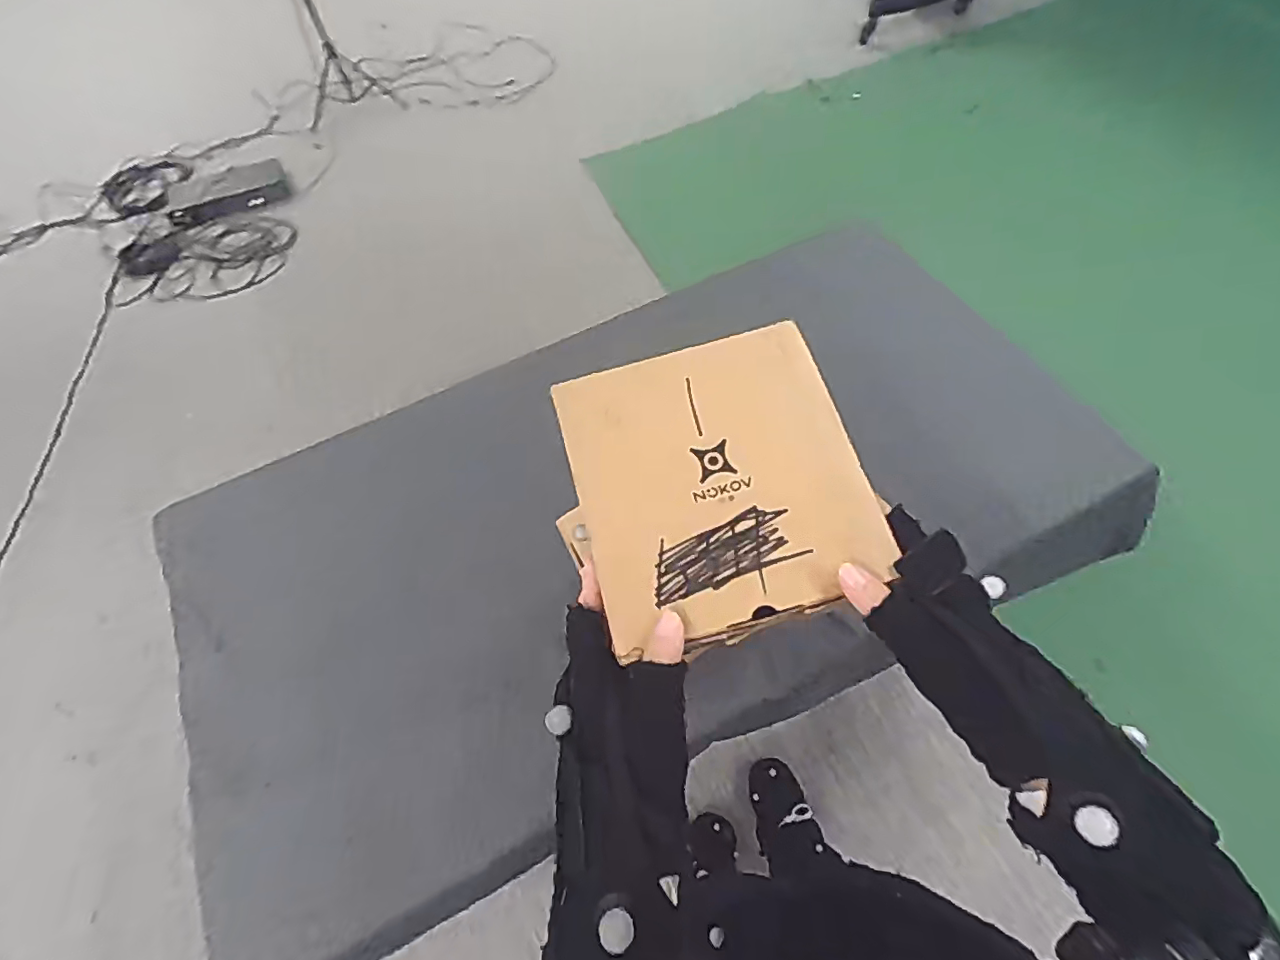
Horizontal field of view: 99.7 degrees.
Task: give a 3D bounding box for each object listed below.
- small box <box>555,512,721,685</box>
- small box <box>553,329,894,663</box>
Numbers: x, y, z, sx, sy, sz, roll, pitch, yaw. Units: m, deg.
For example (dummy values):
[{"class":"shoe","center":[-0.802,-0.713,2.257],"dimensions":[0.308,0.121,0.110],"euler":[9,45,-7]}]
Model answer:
[{"class":"small box","center":[0.033,0.103,0.607],"dimensions":[0.179,0.176,0.168],"euler":[-31,61,-14]},{"class":"small box","center":[0.048,0.026,0.398],"dimensions":[0.168,0.176,0.179],"euler":[-15,70,-1]}]
